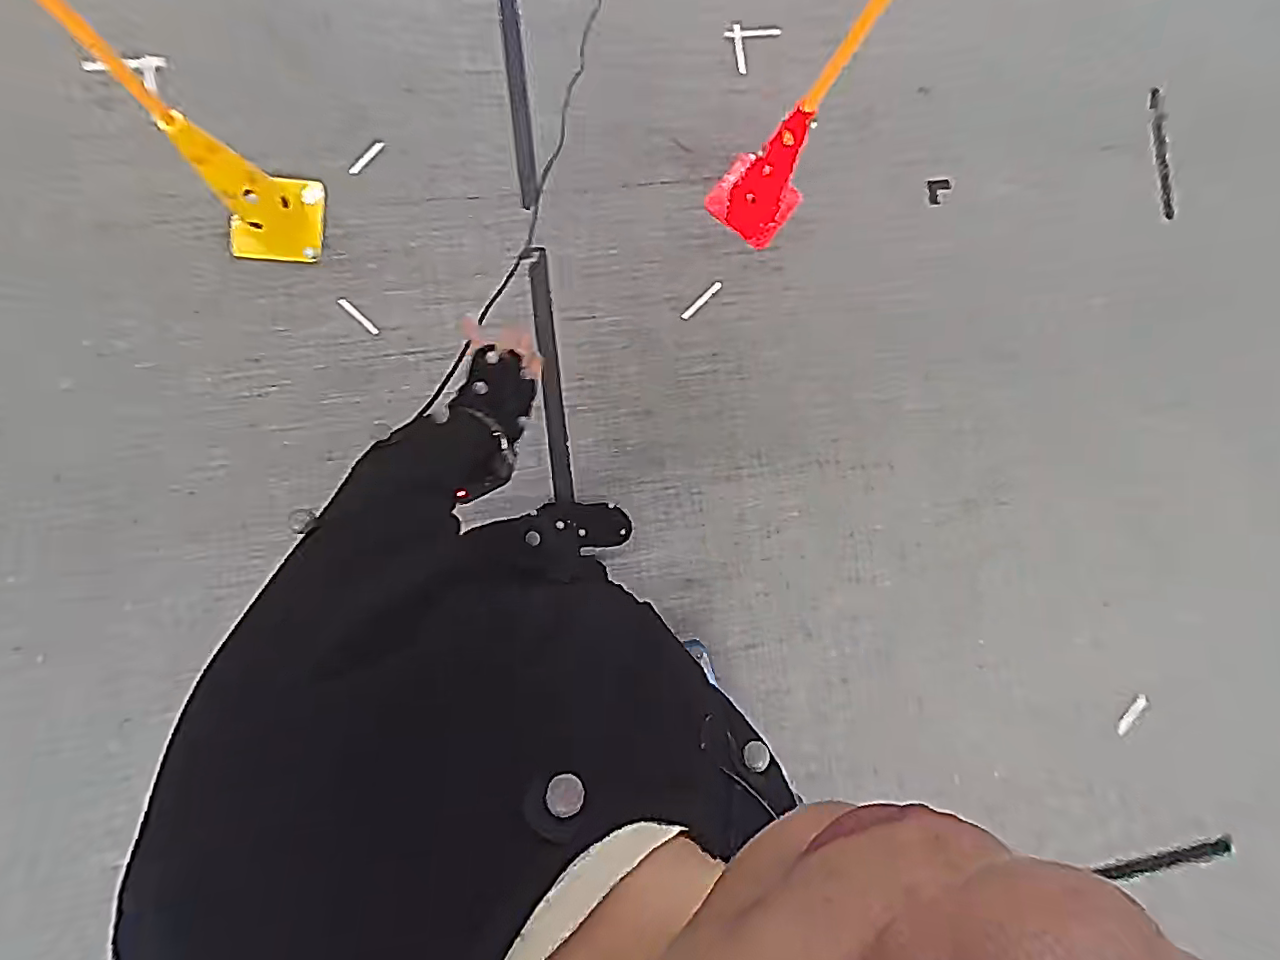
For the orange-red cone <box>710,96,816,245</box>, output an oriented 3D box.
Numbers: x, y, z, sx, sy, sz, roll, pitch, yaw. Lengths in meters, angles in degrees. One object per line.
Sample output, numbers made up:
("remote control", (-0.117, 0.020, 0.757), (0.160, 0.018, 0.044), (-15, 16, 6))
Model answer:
("orange-red cone", (0.324, -0.749, 1.263), (0.198, 0.360, 0.199), (38, 86, -3))
